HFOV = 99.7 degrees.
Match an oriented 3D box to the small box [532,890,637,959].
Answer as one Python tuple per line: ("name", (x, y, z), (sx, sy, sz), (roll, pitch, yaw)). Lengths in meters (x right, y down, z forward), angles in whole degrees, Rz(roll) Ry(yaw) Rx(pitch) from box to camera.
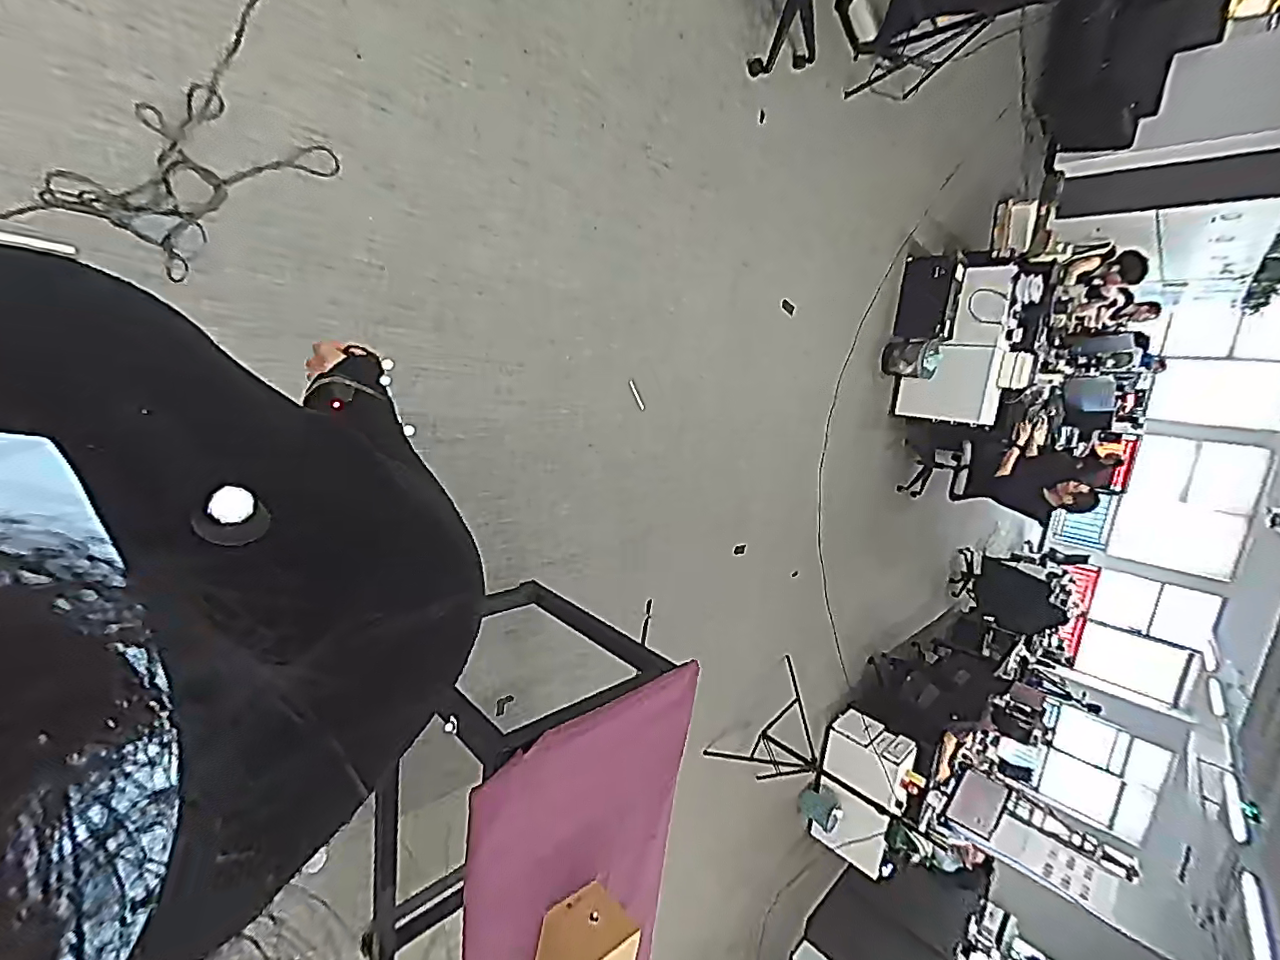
("small box", (-0.135, 1.112, 1.263), (0.168, 0.176, 0.179), (7, 97, -47))
